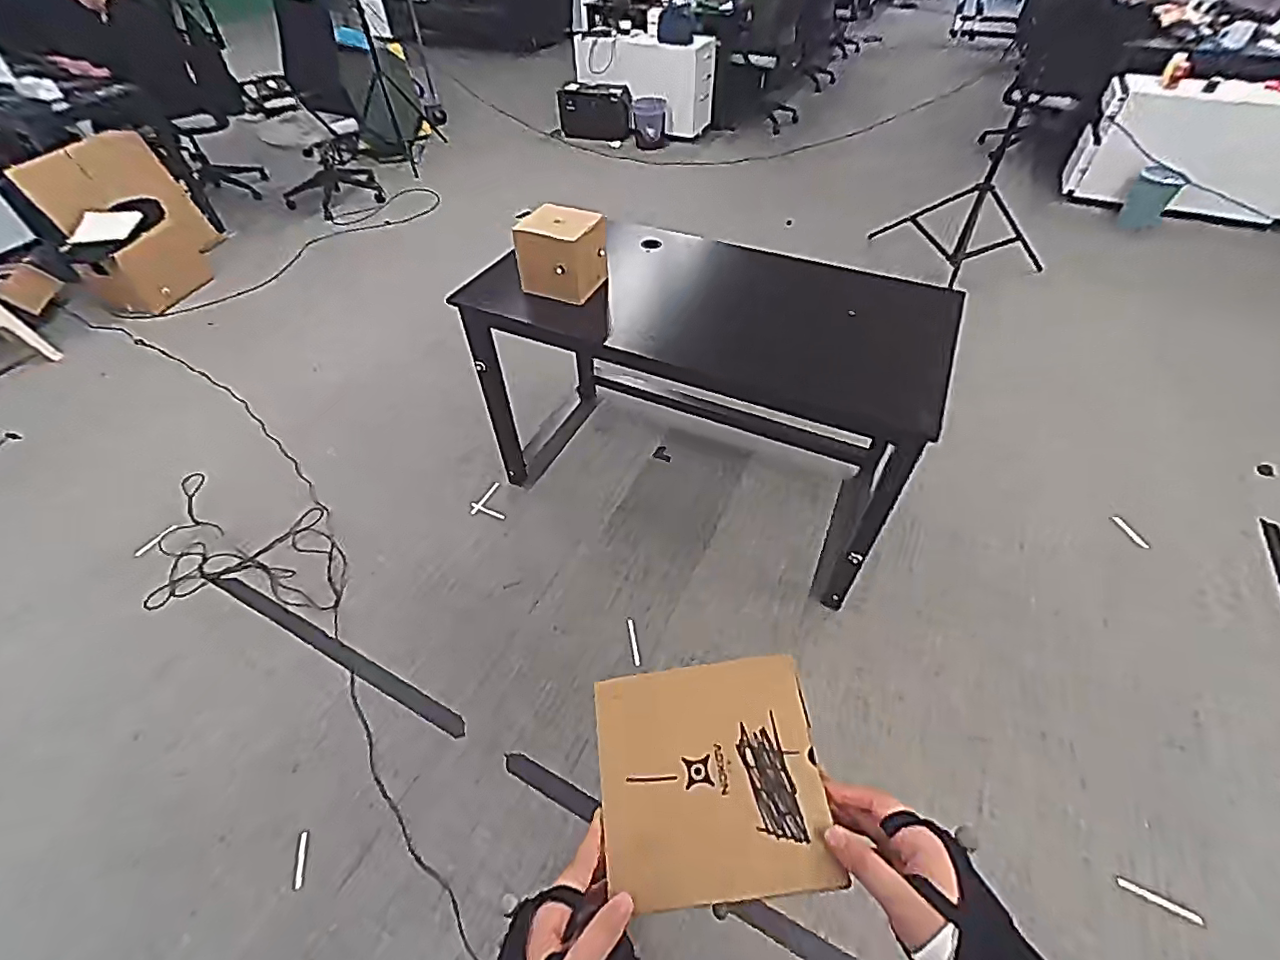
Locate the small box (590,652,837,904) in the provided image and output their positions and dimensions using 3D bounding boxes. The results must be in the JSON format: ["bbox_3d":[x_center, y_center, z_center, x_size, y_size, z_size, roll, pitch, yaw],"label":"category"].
[{"bbox_3d":[0.058,0.271,0.500,0.179,0.176,0.168,-9,56,3],"label":"small box"}]

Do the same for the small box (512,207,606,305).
[{"bbox_3d":[-0.198,-0.571,1.386,0.179,0.176,0.168,17,50,16],"label":"small box"}]
